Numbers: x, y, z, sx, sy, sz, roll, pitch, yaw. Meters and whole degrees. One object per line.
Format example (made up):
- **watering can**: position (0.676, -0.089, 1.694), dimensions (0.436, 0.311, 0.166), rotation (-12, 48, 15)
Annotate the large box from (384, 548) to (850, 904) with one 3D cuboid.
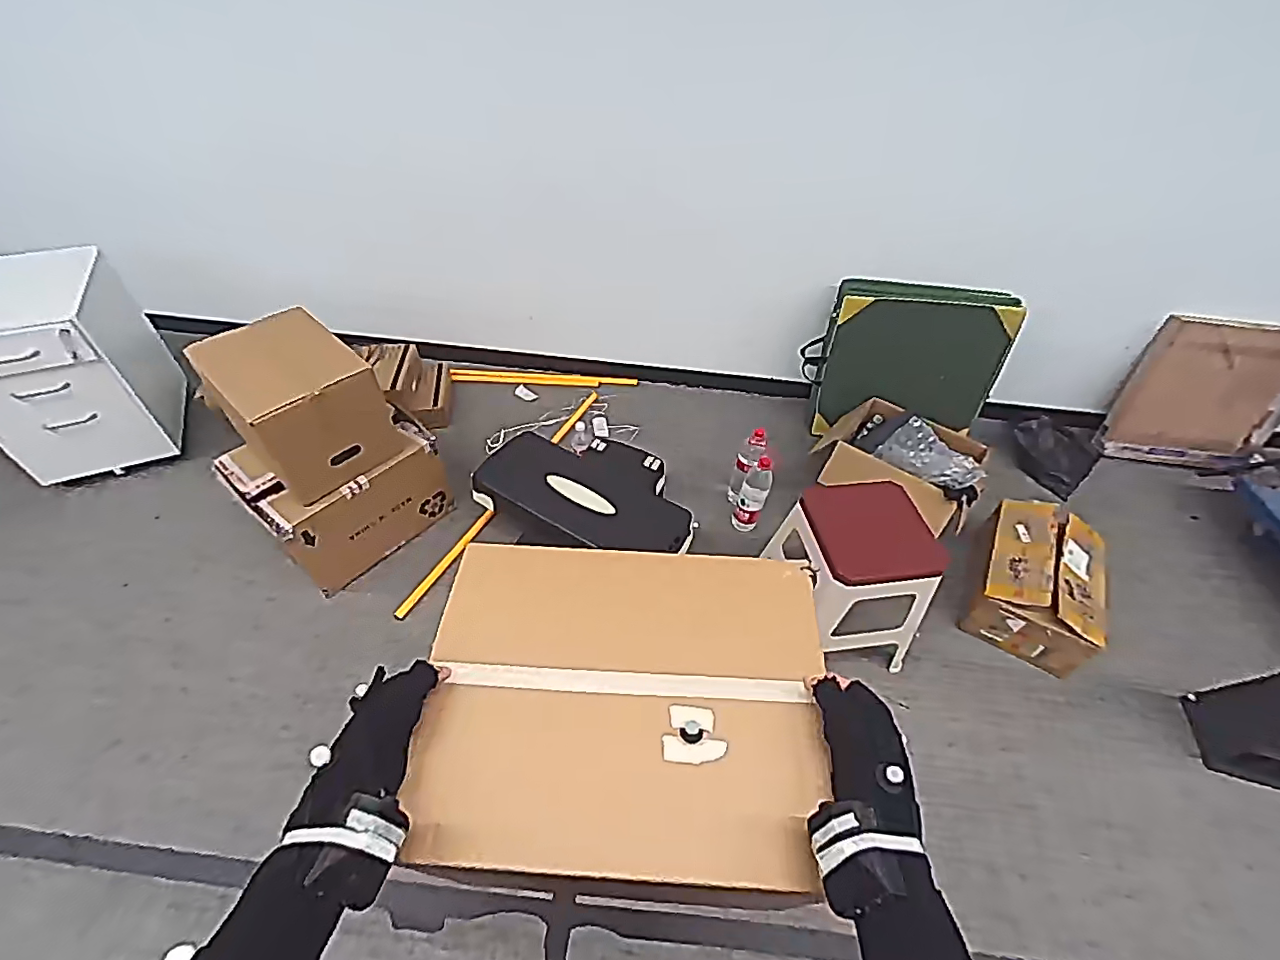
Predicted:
- **large box**: position (-0.017, 0.303, 0.660), dimensions (0.408, 0.320, 0.320), rotation (3, 50, 2)
